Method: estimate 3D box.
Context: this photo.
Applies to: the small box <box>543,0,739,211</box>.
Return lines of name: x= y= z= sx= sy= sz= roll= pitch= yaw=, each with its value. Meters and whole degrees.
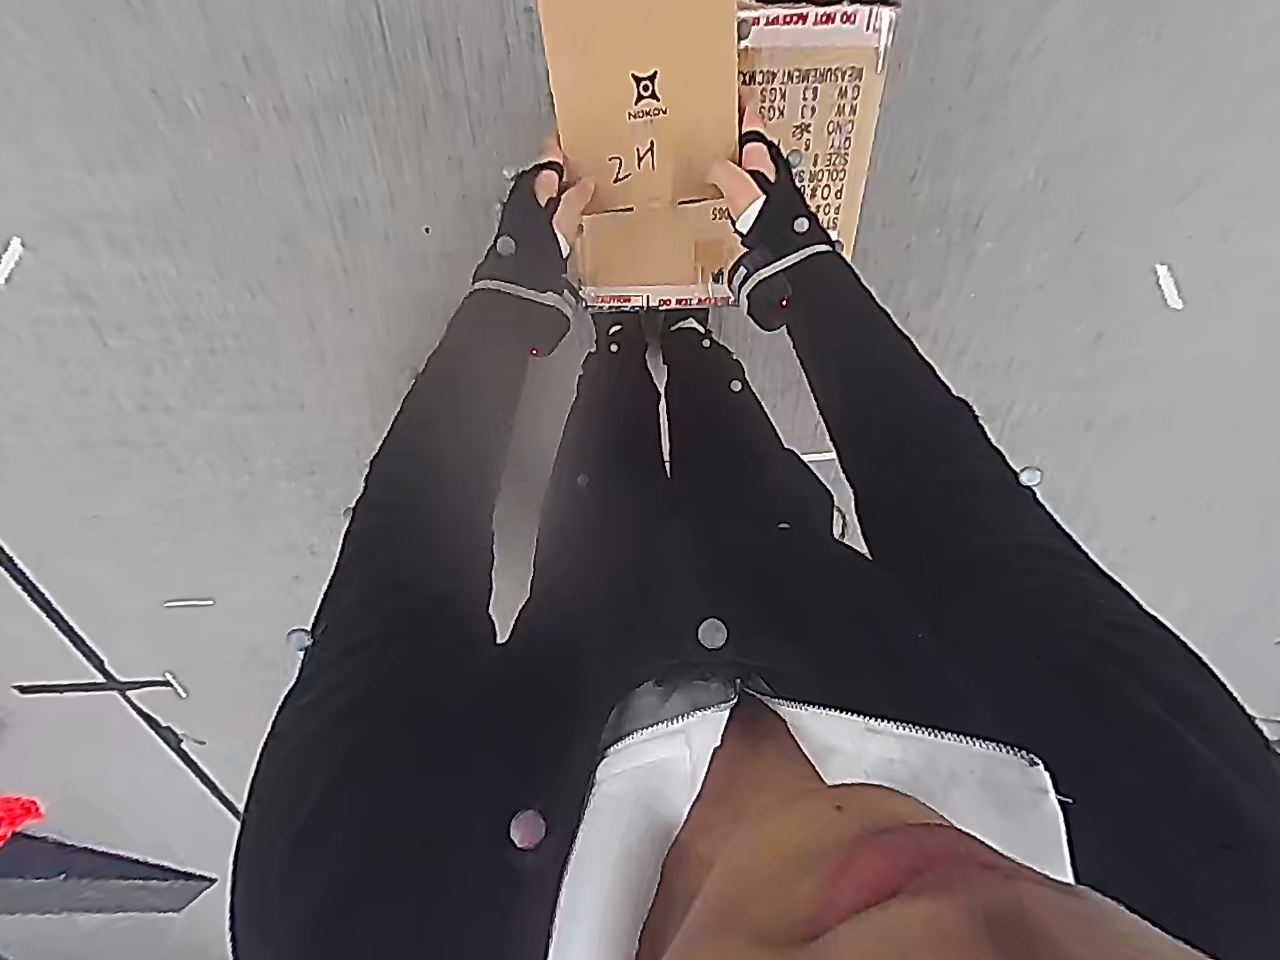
small box: x=0.006 y=-0.388 z=0.548 sx=0.168 sy=0.176 sz=0.179 roll=-5 pitch=125 yaw=4
